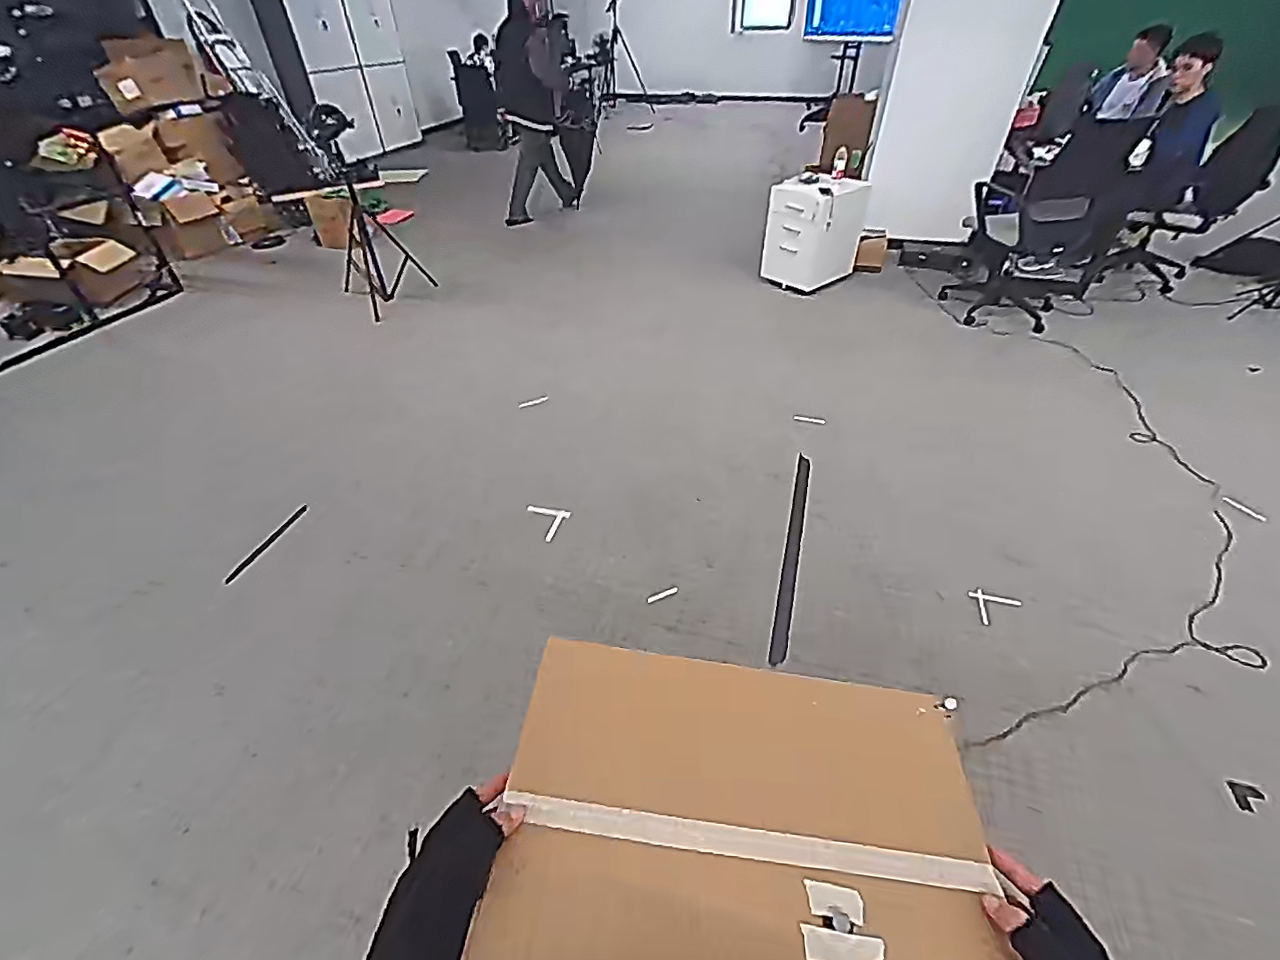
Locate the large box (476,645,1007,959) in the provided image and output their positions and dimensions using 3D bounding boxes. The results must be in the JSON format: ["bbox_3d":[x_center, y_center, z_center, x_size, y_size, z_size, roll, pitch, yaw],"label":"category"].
[{"bbox_3d":[0.074,0.408,0.558,0.408,0.320,0.320,8,43,1],"label":"large box"}]
